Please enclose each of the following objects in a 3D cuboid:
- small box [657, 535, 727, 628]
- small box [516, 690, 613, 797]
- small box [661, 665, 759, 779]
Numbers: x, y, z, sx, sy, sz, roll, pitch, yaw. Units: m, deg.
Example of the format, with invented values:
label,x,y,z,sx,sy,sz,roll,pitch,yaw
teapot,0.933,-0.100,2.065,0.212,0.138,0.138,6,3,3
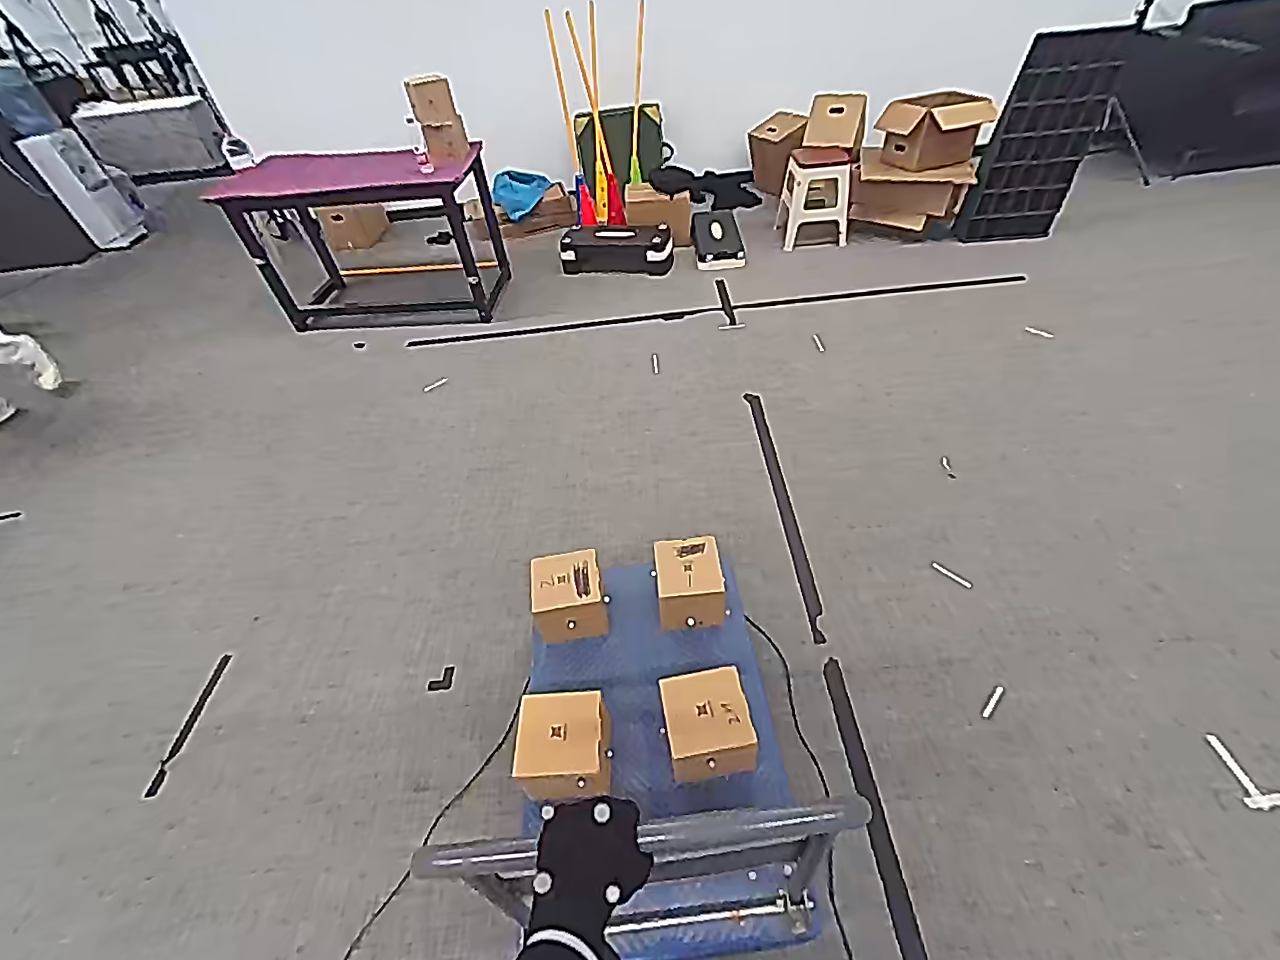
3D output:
label,x,y,z,sx,sy,sz,roll,pitch,yaw
small box,0.134,0.270,1.437,0.168,0.176,0.179,-6,47,1
small box,-0.156,0.577,1.178,0.179,0.176,0.168,-4,46,1
small box,0.150,0.532,1.181,0.179,0.176,0.168,-10,46,-2
